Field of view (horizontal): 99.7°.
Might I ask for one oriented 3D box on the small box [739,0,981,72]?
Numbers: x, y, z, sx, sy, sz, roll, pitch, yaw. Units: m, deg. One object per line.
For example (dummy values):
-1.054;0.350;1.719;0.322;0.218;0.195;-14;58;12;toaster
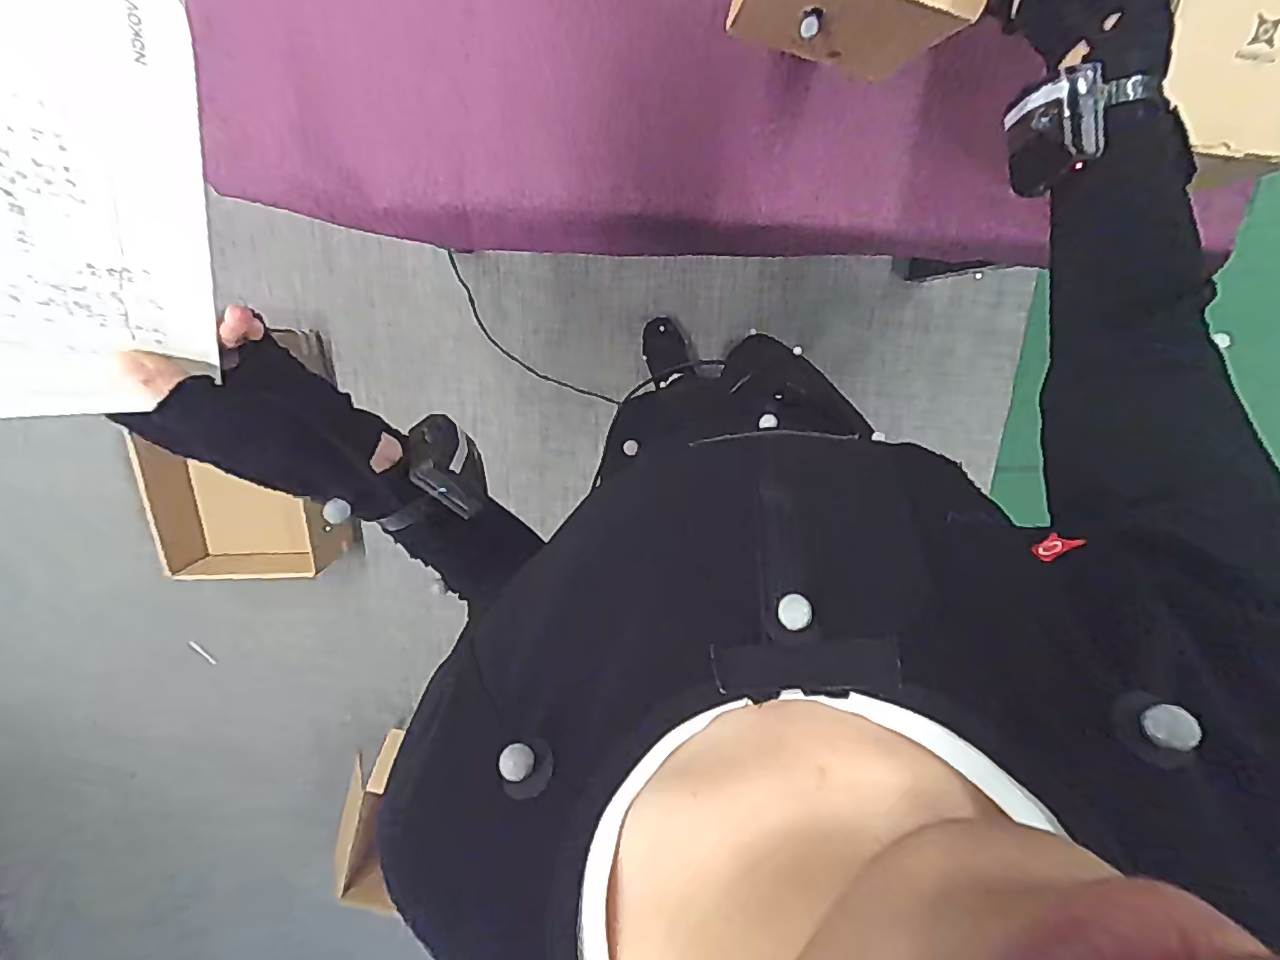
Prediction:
0.187;-0.465;0.428;0.168;0.176;0.179;12;111;-6;small box
